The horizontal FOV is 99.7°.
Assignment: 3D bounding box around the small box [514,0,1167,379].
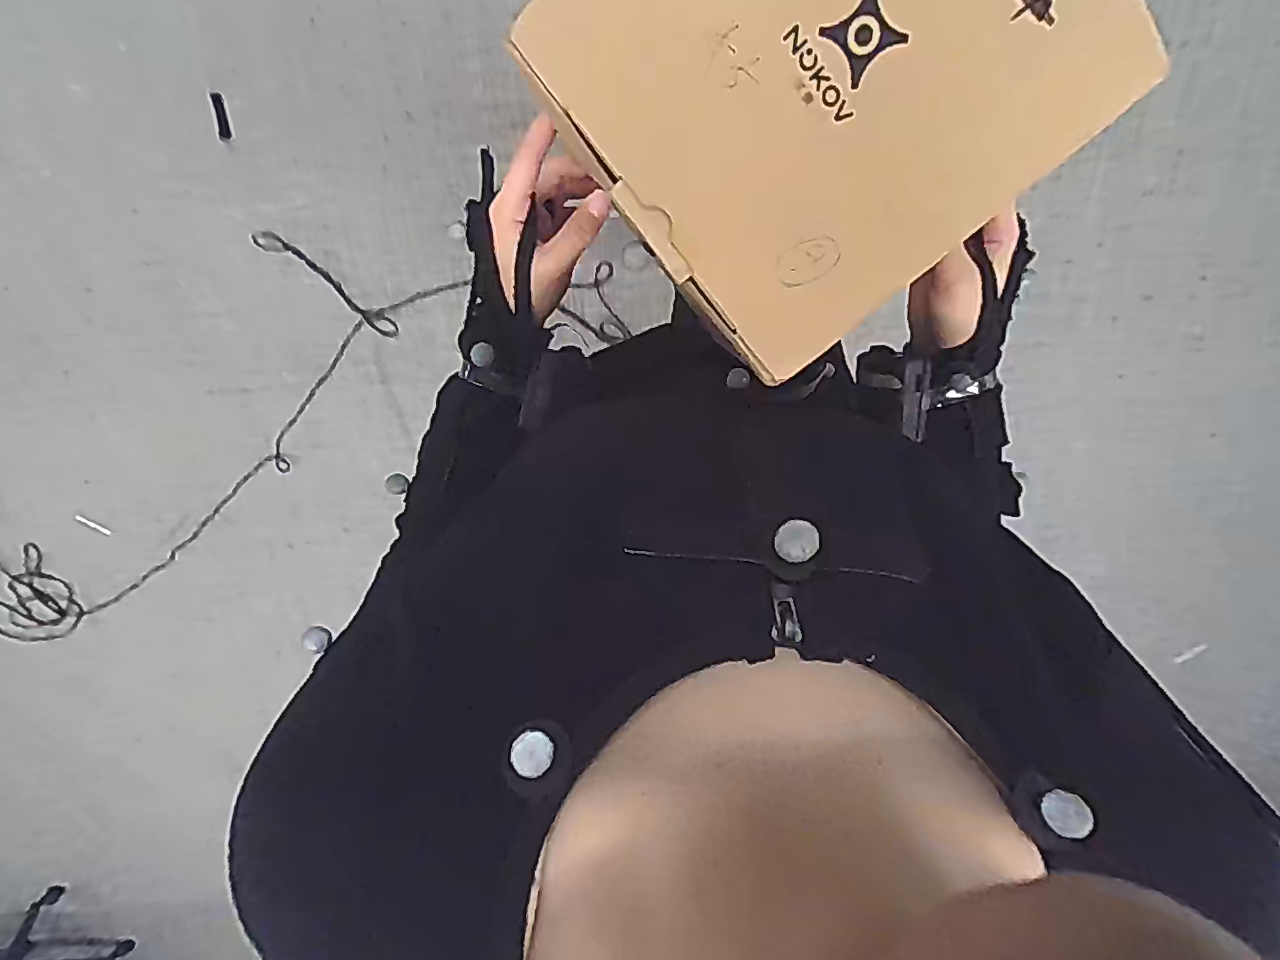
[{"bbox_3d":[0.073,-0.178,0.267,0.179,0.176,0.168,-38,105,14],"label":"small box"}]
